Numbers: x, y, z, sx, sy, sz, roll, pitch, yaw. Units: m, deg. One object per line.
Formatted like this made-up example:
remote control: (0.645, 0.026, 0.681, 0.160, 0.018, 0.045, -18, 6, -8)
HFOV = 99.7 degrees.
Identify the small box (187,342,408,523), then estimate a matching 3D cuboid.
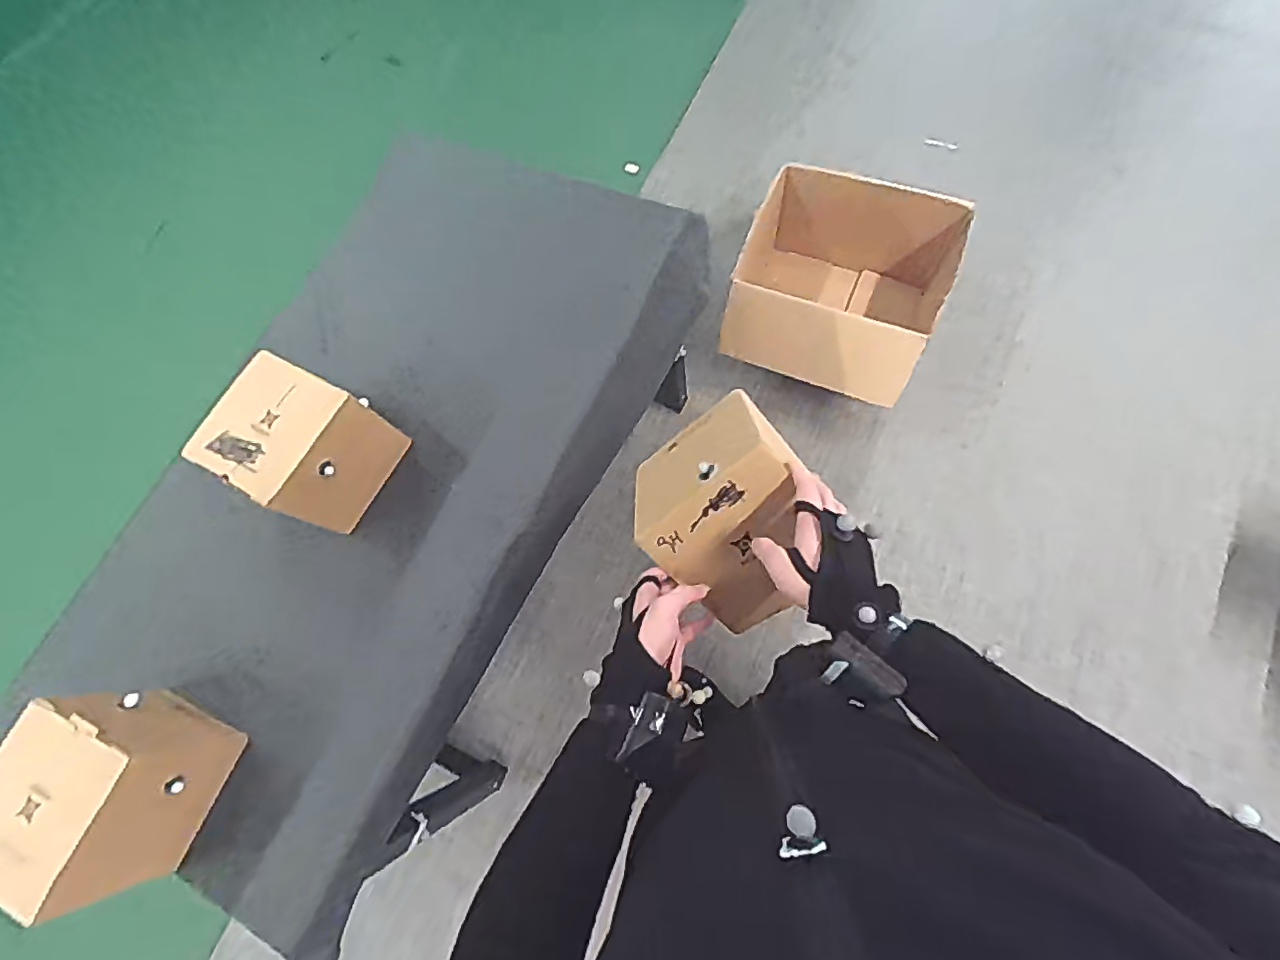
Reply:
small box: (-0.479, -0.059, 0.786, 0.168, 0.176, 0.179, 30, 78, 13)

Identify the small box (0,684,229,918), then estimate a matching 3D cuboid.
small box: (-0.659, 0.364, 0.659, 0.168, 0.176, 0.179, 19, 76, 13)

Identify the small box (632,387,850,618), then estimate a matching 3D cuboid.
small box: (0.111, 0.020, 0.639, 0.168, 0.176, 0.179, -39, 110, 20)
